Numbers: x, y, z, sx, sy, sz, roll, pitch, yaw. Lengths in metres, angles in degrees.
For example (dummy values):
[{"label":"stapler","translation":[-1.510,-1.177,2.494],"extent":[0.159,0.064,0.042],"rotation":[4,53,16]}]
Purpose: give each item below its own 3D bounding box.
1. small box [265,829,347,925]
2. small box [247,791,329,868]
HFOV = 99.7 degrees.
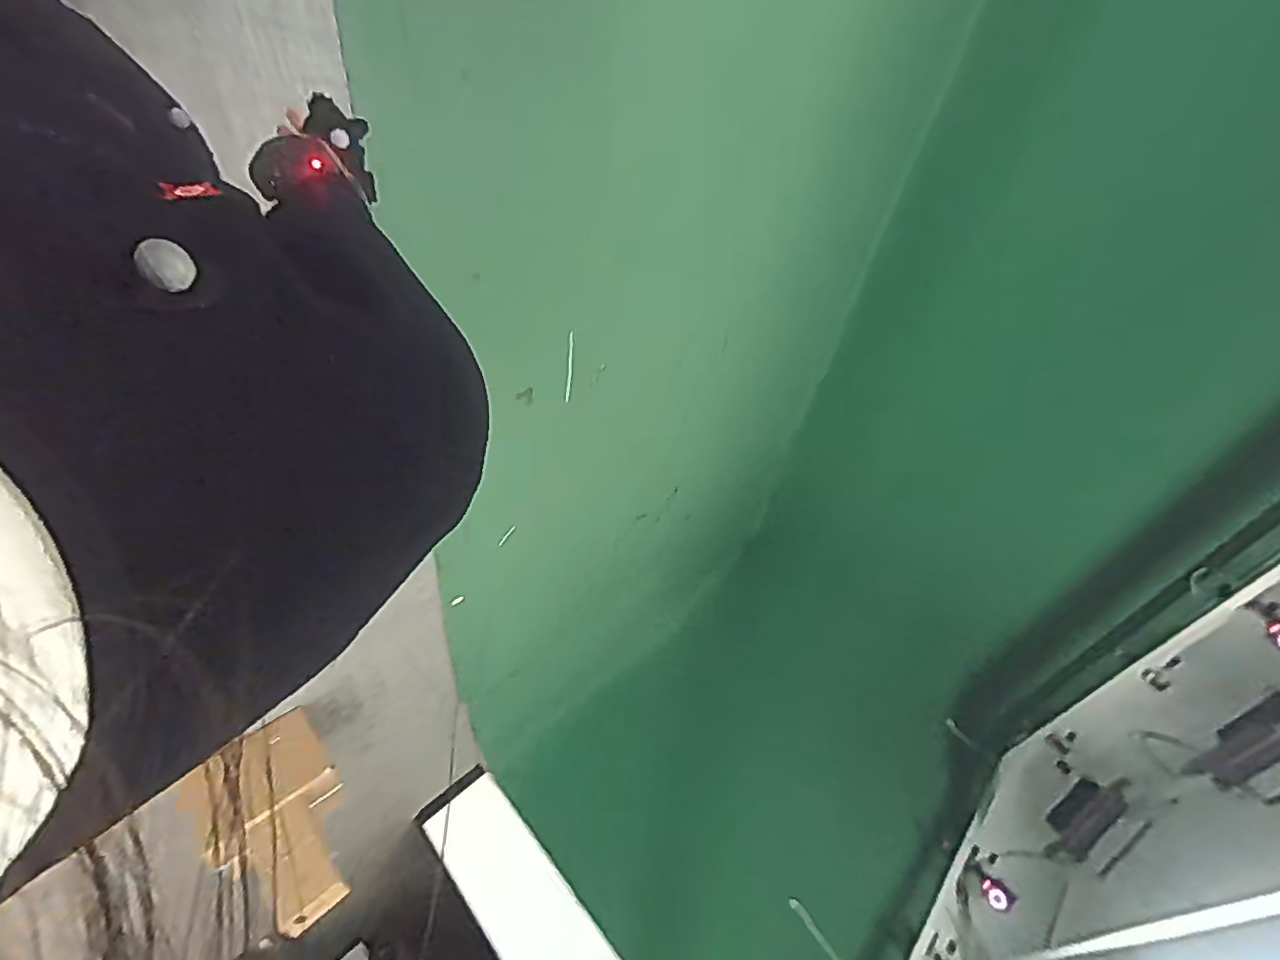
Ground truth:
[{"label":"small box","translation":[-1.119,1.321,1.805],"extent":[0.179,0.176,0.168],"rotation":[-31,146,-36]},{"label":"small box","translation":[-1.229,1.228,1.886],"extent":[0.168,0.176,0.179],"rotation":[-32,146,-33]}]
